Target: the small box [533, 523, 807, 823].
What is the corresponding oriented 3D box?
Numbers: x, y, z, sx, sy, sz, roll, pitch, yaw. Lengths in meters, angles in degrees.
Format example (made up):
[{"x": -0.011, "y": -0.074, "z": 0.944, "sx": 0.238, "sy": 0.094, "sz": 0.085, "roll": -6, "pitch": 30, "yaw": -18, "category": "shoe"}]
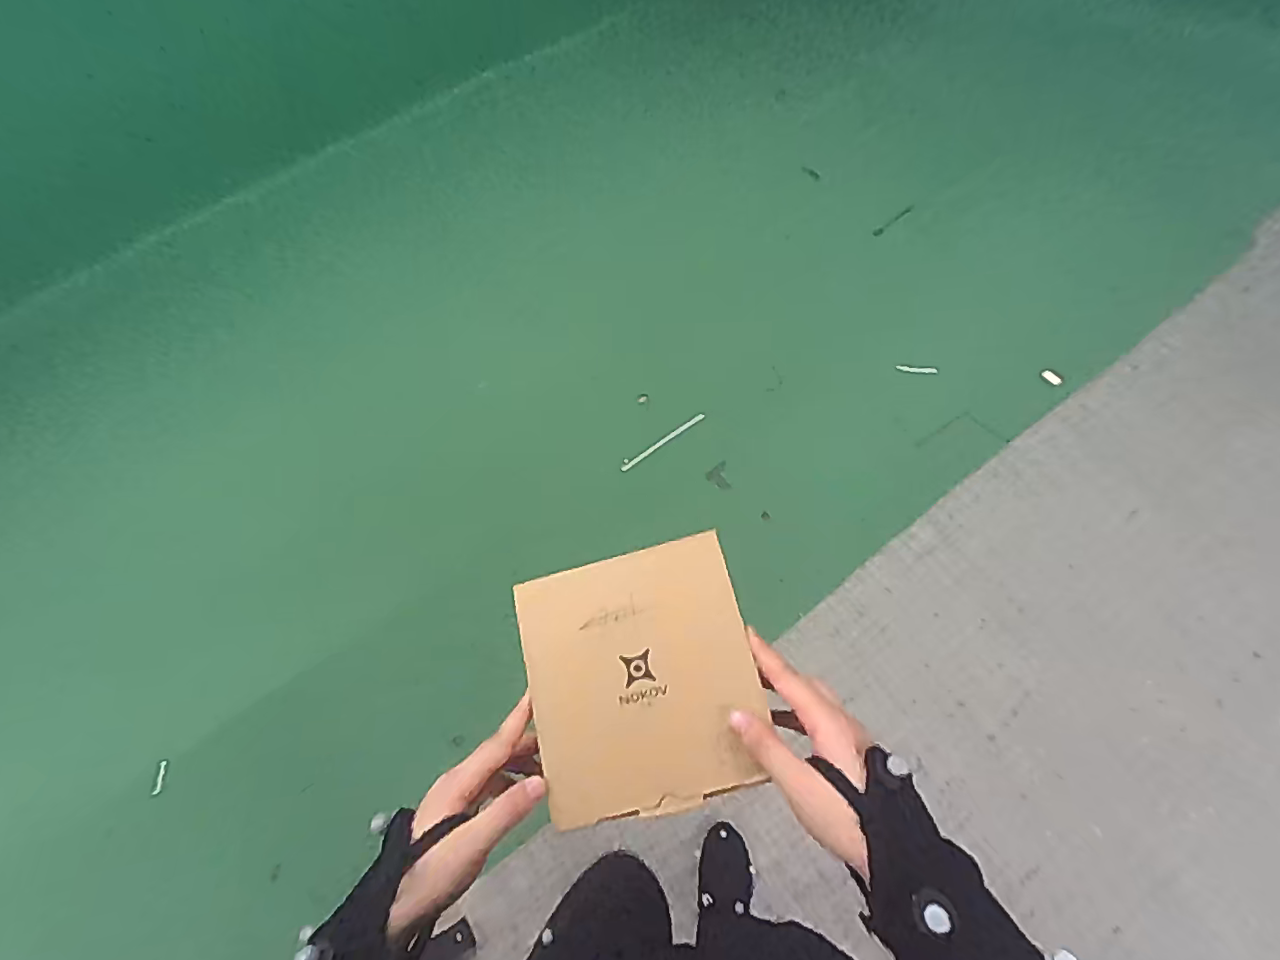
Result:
[{"x": 0.025, "y": 0.155, "z": 0.460, "sx": 0.168, "sy": 0.176, "sz": 0.179, "roll": -16, "pitch": 70, "yaw": 2, "category": "small box"}]
